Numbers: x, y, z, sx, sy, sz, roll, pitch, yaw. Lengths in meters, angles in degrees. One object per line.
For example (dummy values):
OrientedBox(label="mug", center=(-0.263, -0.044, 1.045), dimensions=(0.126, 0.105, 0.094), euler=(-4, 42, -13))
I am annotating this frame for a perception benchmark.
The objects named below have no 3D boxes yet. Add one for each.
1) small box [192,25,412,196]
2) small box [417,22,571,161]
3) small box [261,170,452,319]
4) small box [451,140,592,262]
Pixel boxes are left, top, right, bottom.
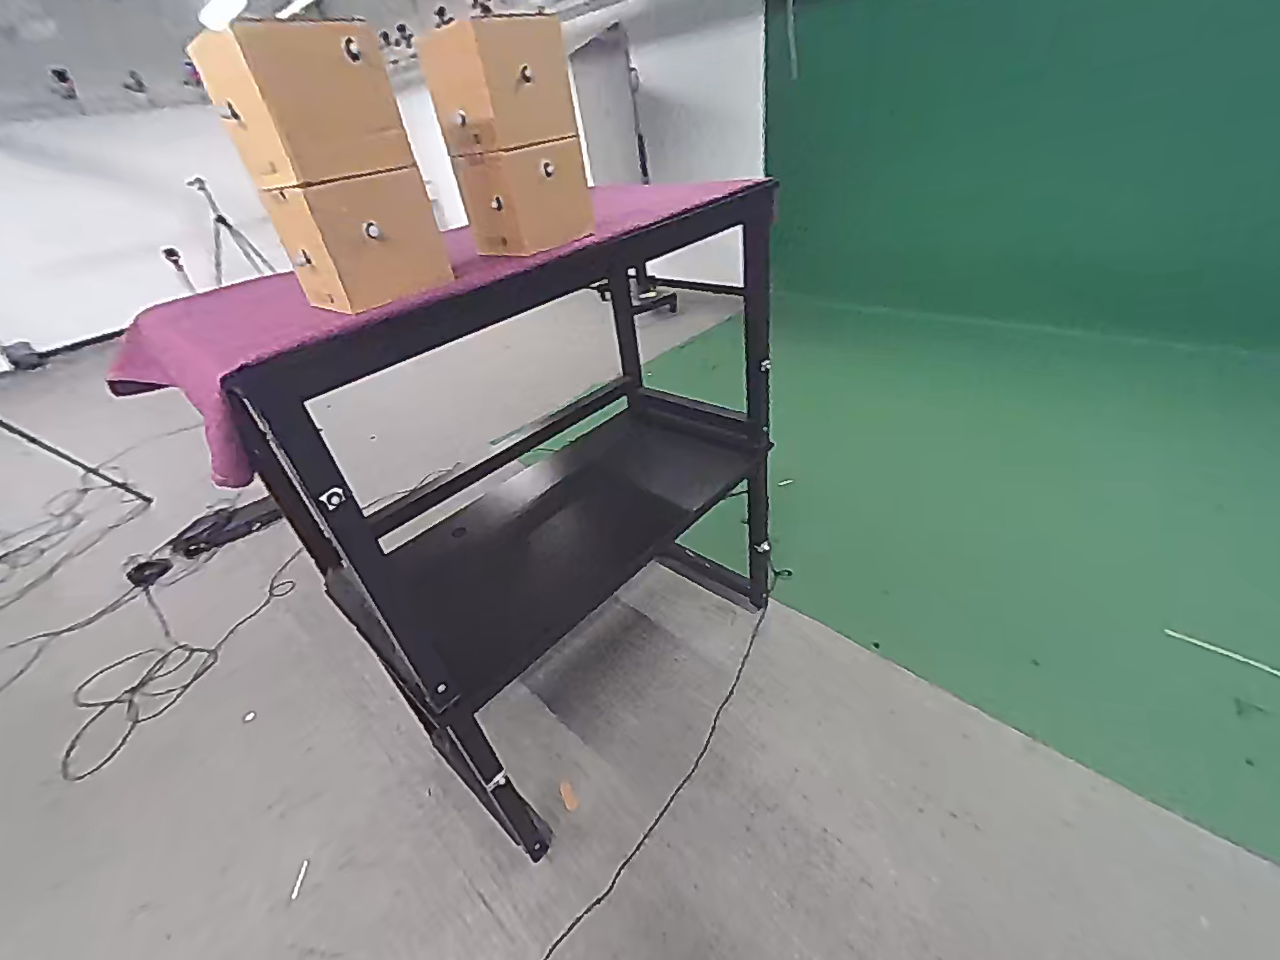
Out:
OrientedBox(label="small box", center=(-0.450, -0.493, 0.739), dimensions=(0.168, 0.176, 0.179), euler=(20, 42, 37))
OrientedBox(label="small box", center=(-0.233, -0.646, 0.911), dimensions=(0.168, 0.176, 0.179), euler=(21, 46, 37))
OrientedBox(label="small box", center=(-0.424, -0.359, 0.828), dimensions=(0.168, 0.176, 0.179), euler=(21, 45, 37))
OrientedBox(label="small box", center=(-0.210, -0.513, 1.003), dimensions=(0.168, 0.176, 0.179), euler=(22, 45, 37))
